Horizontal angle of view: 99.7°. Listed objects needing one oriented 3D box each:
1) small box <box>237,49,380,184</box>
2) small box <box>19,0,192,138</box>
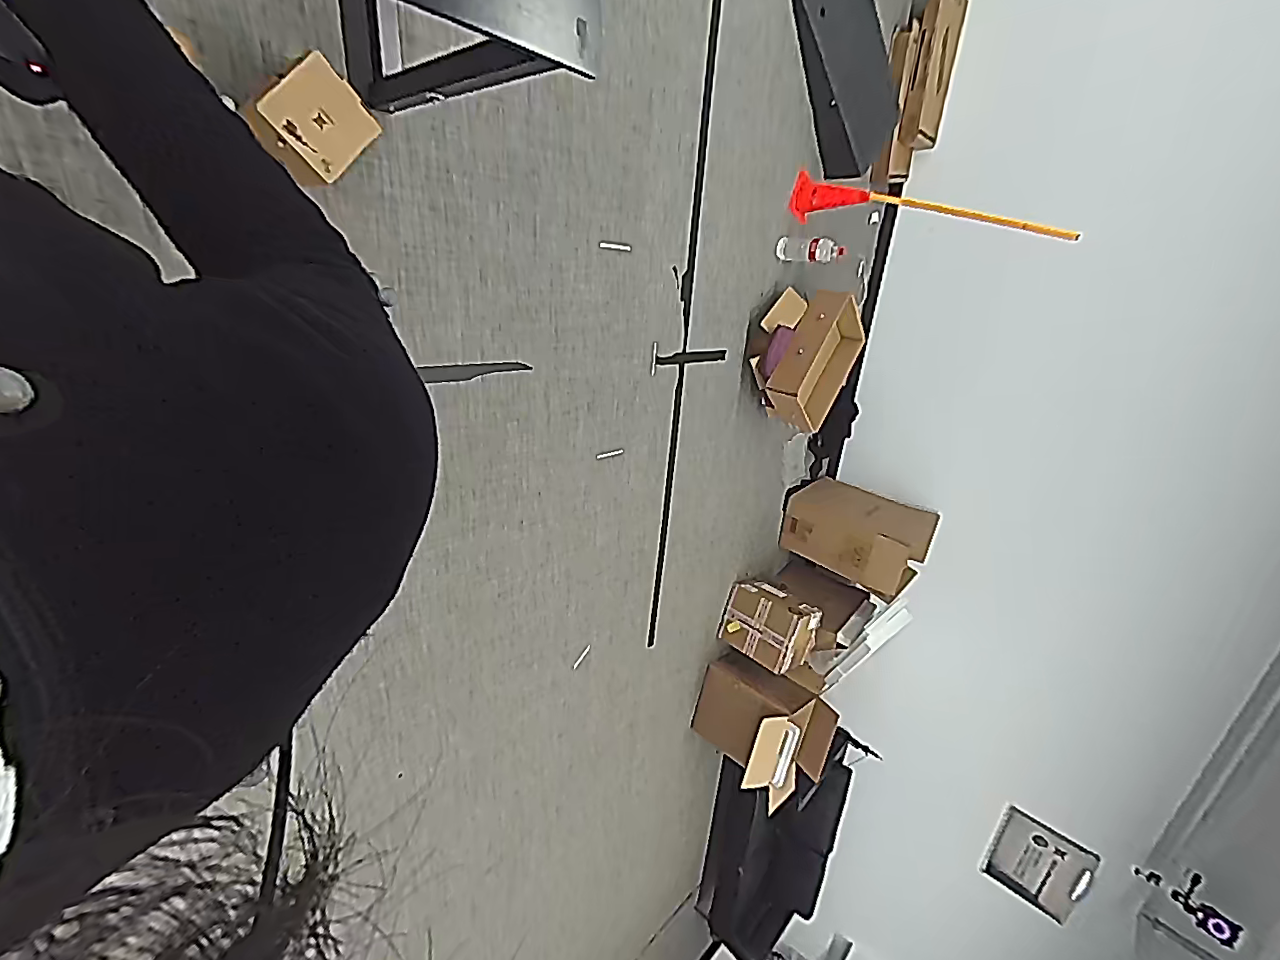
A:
[{"bbox_3d":[-0.698,-0.752,1.134,0.179,0.176,0.168,-57,141,-12],"label":"small box"},{"bbox_3d":[-0.904,-0.710,0.915,0.179,0.176,0.168,12,98,-51],"label":"small box"}]
